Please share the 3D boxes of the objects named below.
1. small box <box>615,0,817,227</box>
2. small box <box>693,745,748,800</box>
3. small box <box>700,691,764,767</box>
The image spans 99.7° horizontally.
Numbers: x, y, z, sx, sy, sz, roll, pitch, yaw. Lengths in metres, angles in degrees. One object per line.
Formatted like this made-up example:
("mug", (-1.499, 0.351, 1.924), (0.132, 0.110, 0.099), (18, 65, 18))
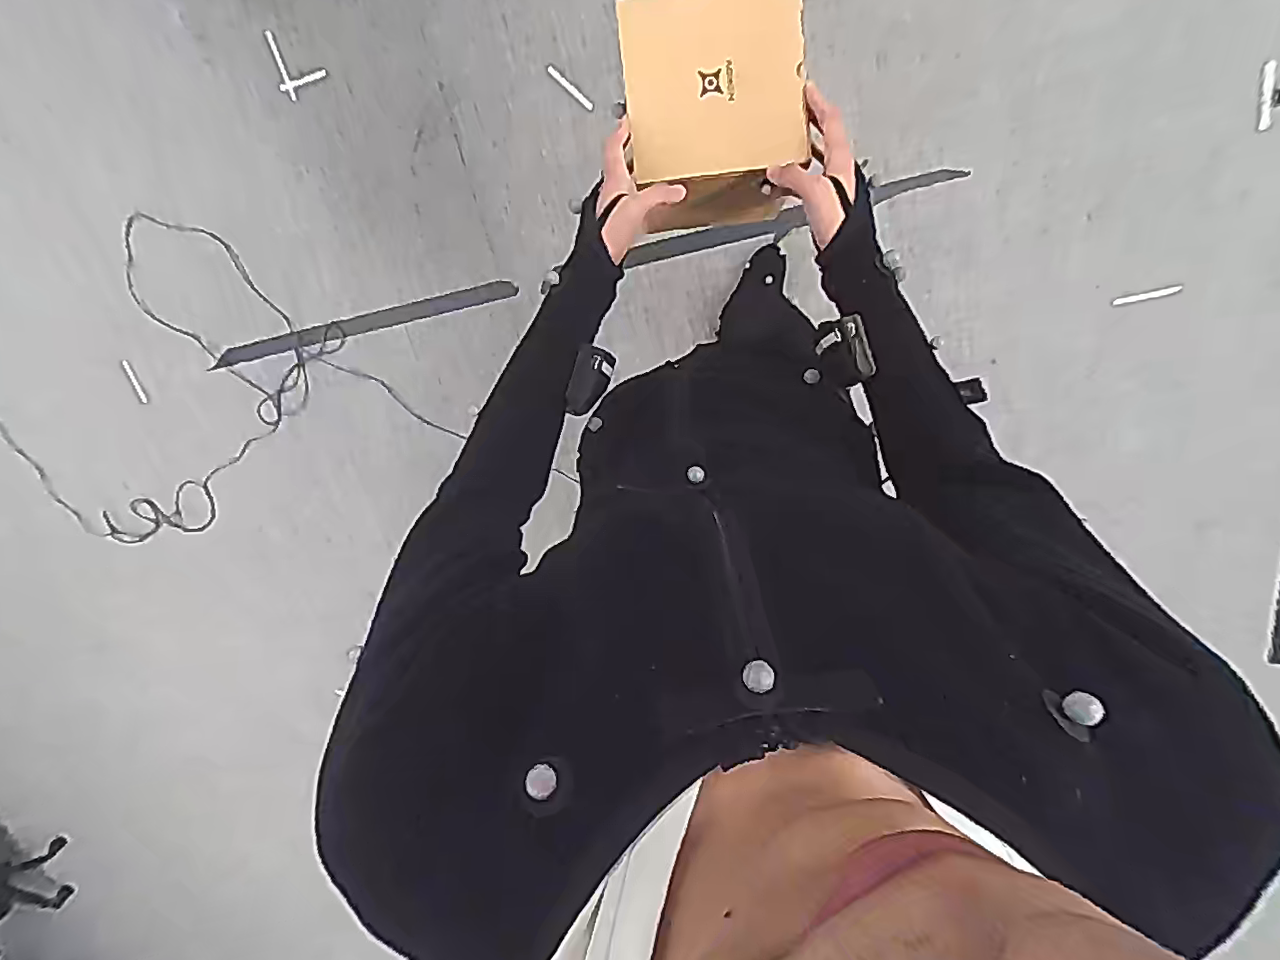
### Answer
("small box", (0.073, -0.387, 0.578), (0.179, 0.176, 0.168), (-7, 98, 1))
("small box", (0.264, 0.987, 1.741), (0.168, 0.176, 0.179), (-8, 109, 7))
("small box", (0.315, 0.867, 1.866), (0.168, 0.176, 0.179), (-22, 106, 12))
